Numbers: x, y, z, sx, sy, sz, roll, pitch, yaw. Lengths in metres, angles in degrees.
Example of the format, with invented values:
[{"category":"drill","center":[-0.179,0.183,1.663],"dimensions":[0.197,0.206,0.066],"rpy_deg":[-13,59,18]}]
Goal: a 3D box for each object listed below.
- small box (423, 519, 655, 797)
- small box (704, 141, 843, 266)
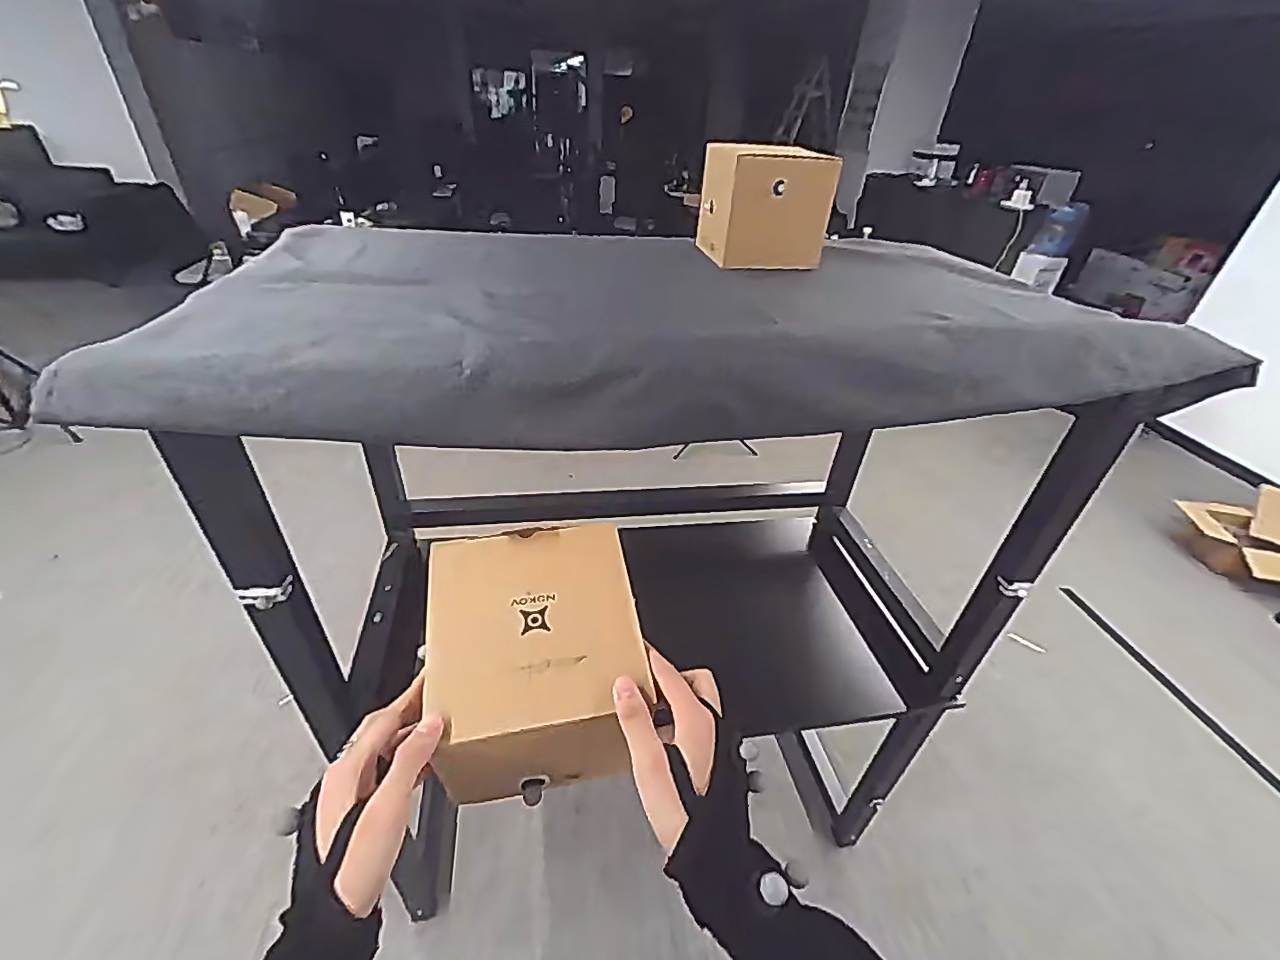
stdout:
[{"category":"small box","center":[-0.091,0.160,0.493],"dimensions":[0.168,0.176,0.179],"rpy_deg":[-5,49,-11]},{"category":"small box","center":[0.213,-0.471,0.923],"dimensions":[0.179,0.176,0.168],"rpy_deg":[-3,37,-10]}]
